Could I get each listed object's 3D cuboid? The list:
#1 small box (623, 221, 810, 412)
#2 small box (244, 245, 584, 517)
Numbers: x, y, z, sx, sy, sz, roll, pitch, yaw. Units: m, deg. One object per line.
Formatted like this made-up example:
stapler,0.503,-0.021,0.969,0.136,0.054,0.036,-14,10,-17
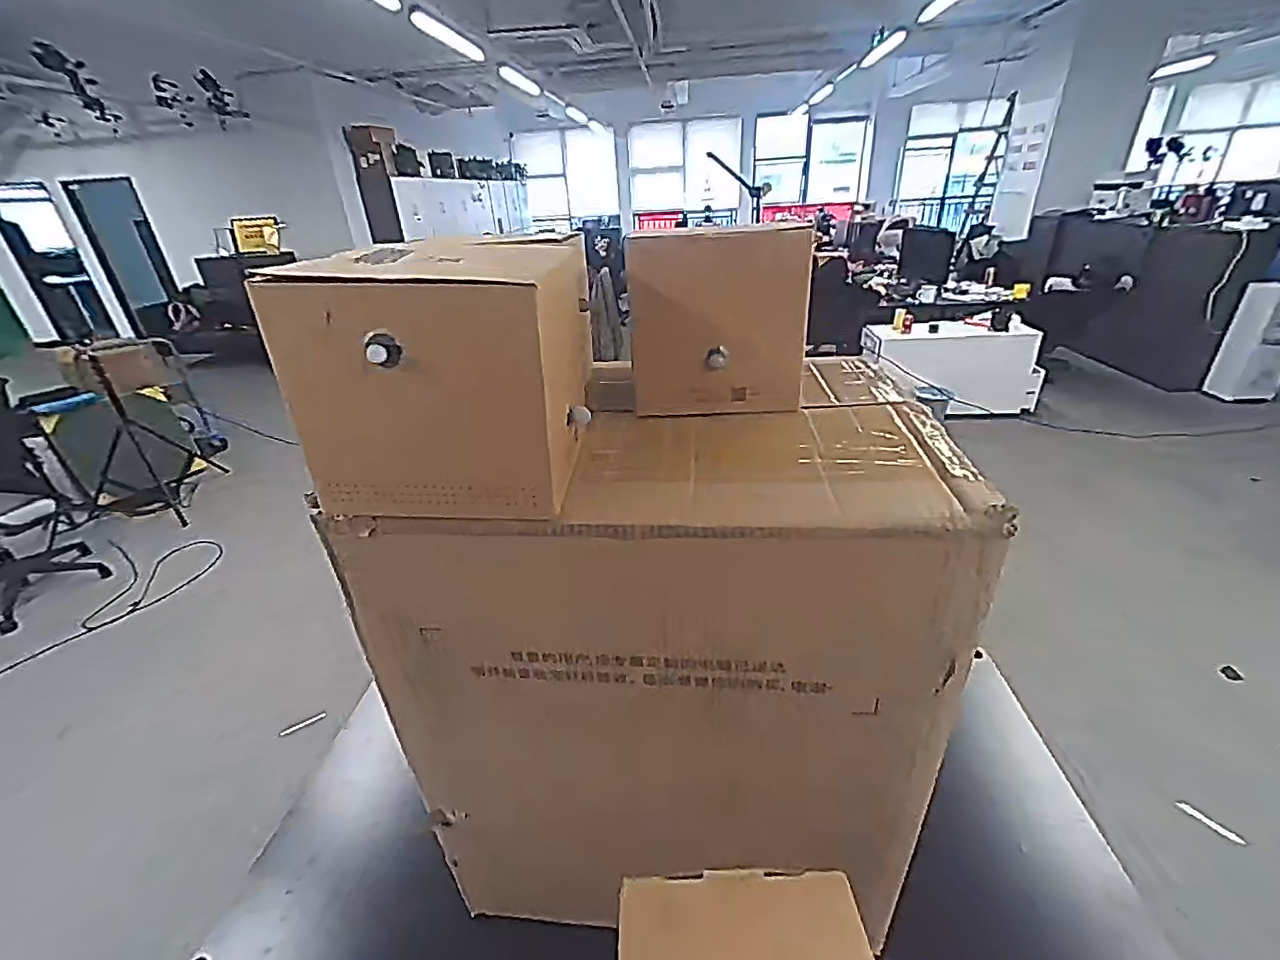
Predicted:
small box,0.075,-0.177,0.576,0.168,0.176,0.179,-2,26,5
small box,-0.143,-0.083,0.420,0.179,0.176,0.168,2,29,2
